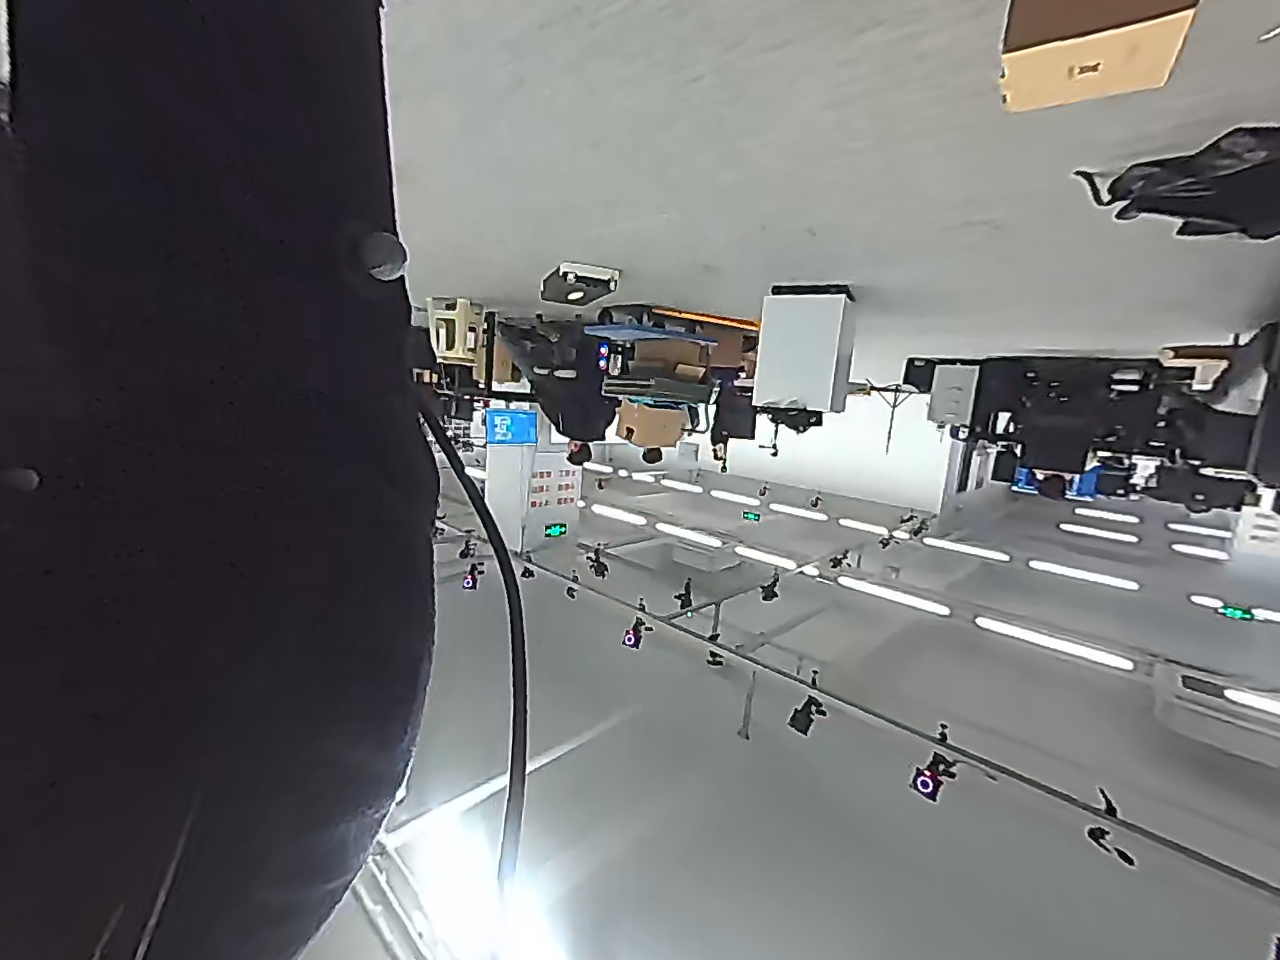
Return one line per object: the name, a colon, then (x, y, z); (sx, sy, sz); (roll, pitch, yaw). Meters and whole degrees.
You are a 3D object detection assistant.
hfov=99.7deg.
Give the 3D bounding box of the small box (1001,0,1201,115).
small box: (0.560, -0.589, 0.656); (0.179, 0.176, 0.168); (11, -168, 35)
